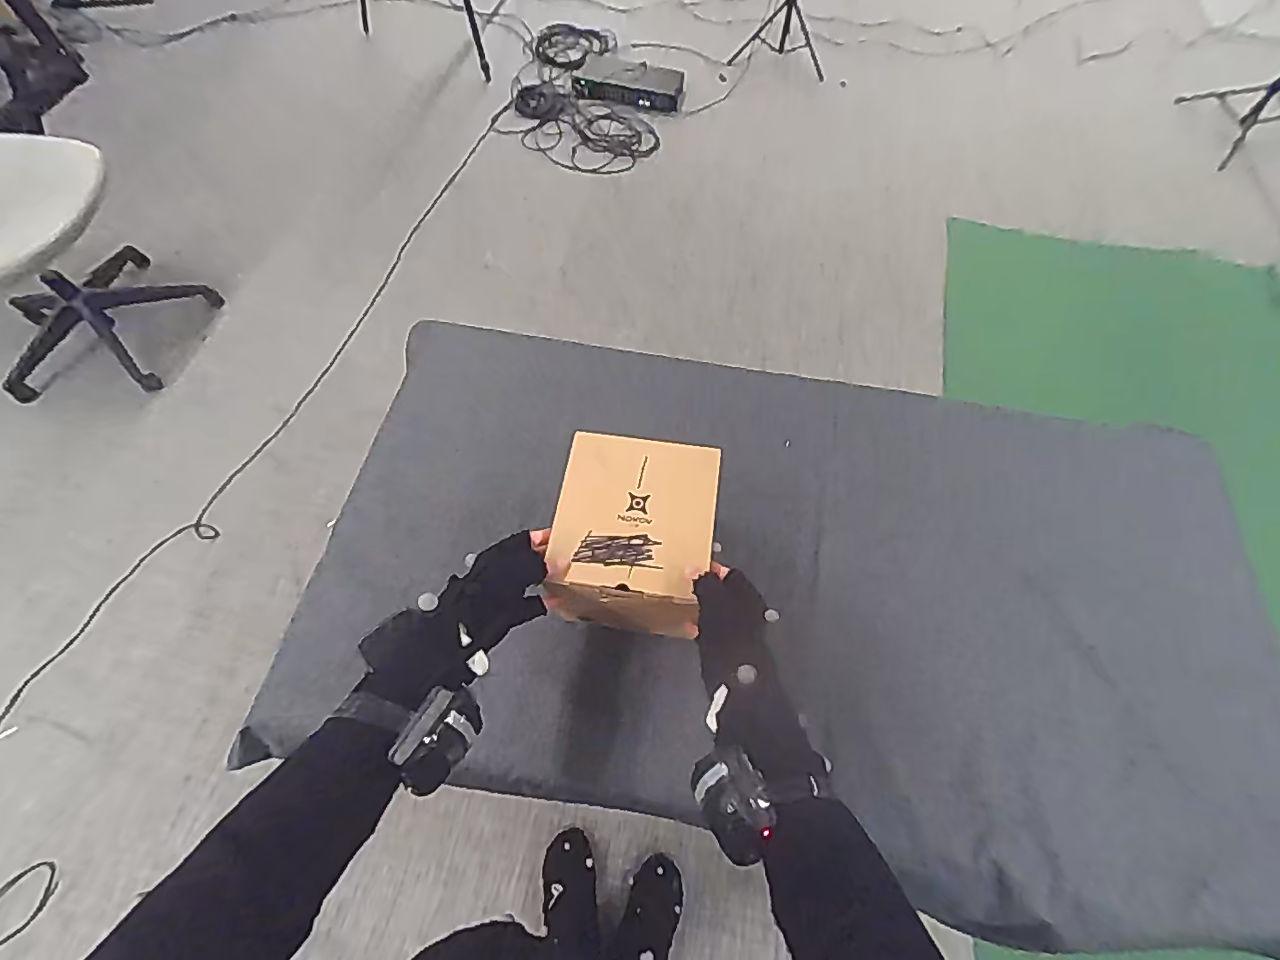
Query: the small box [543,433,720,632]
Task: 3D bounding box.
[{"bbox_3d":[-0.003,0.069,0.637,0.168,0.176,0.179,7,62,4],"label":"small box"}]
